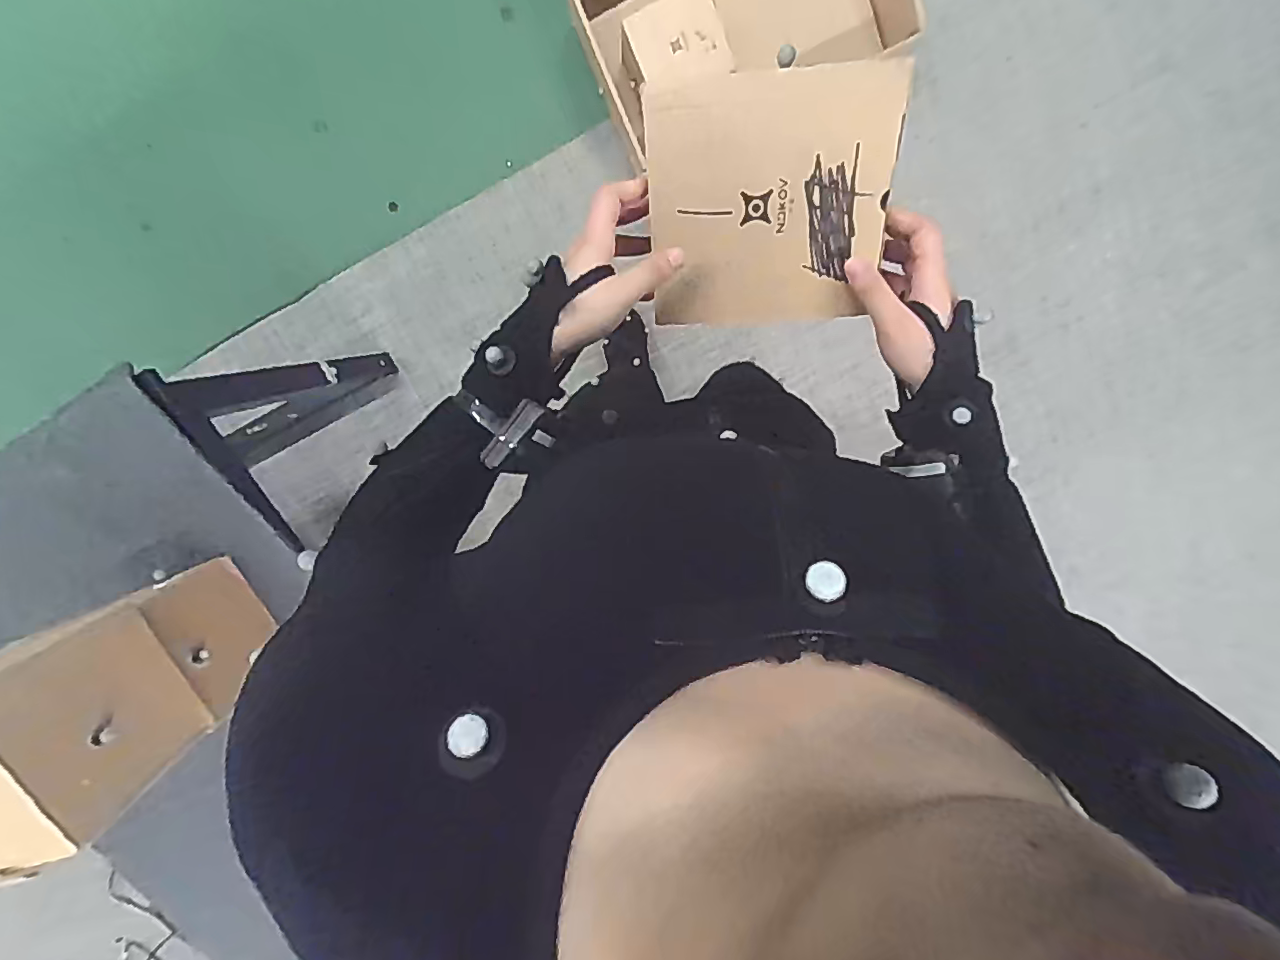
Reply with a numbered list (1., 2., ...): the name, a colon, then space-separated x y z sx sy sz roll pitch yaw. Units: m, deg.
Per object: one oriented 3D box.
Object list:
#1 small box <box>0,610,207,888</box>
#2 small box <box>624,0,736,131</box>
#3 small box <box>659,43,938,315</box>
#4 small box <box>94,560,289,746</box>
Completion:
1. small box: -0.592 0.261 0.532 0.168 0.176 0.179 -20 106 5
2. small box: 0.078 -0.852 1.100 0.179 0.176 0.168 -25 107 5
3. small box: 0.108 -0.246 0.448 0.179 0.176 0.168 -1 124 6
4. small box: -0.605 0.232 0.694 0.168 0.176 0.179 -23 105 5
